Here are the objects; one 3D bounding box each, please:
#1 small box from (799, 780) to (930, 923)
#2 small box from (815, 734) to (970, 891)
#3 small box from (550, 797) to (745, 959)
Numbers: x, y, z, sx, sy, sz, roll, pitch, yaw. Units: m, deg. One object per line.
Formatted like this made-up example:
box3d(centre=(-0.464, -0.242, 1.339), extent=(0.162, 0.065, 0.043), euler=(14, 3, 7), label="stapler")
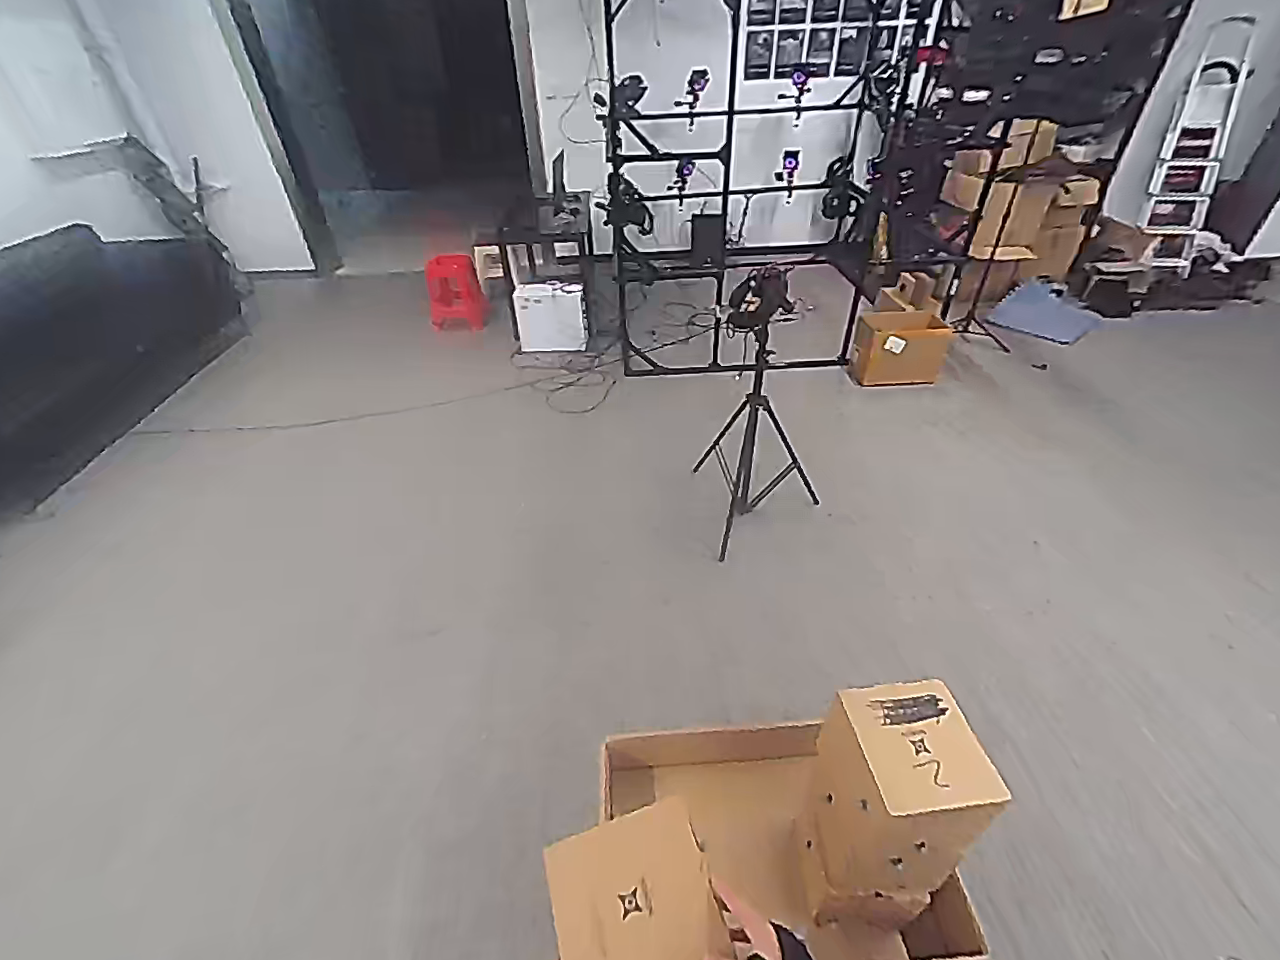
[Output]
box3d(centre=(0.398, 0.684, 0.994), extent=(0.168, 0.176, 0.179), euler=(2, 38, 4), label="small box")
box3d(centre=(0.402, 0.550, 0.900), extent=(0.168, 0.176, 0.179), euler=(-1, 37, 2), label="small box")
box3d(centre=(0.008, 0.514, 0.639), extent=(0.179, 0.176, 0.168), euler=(-17, 44, -9), label="small box")
